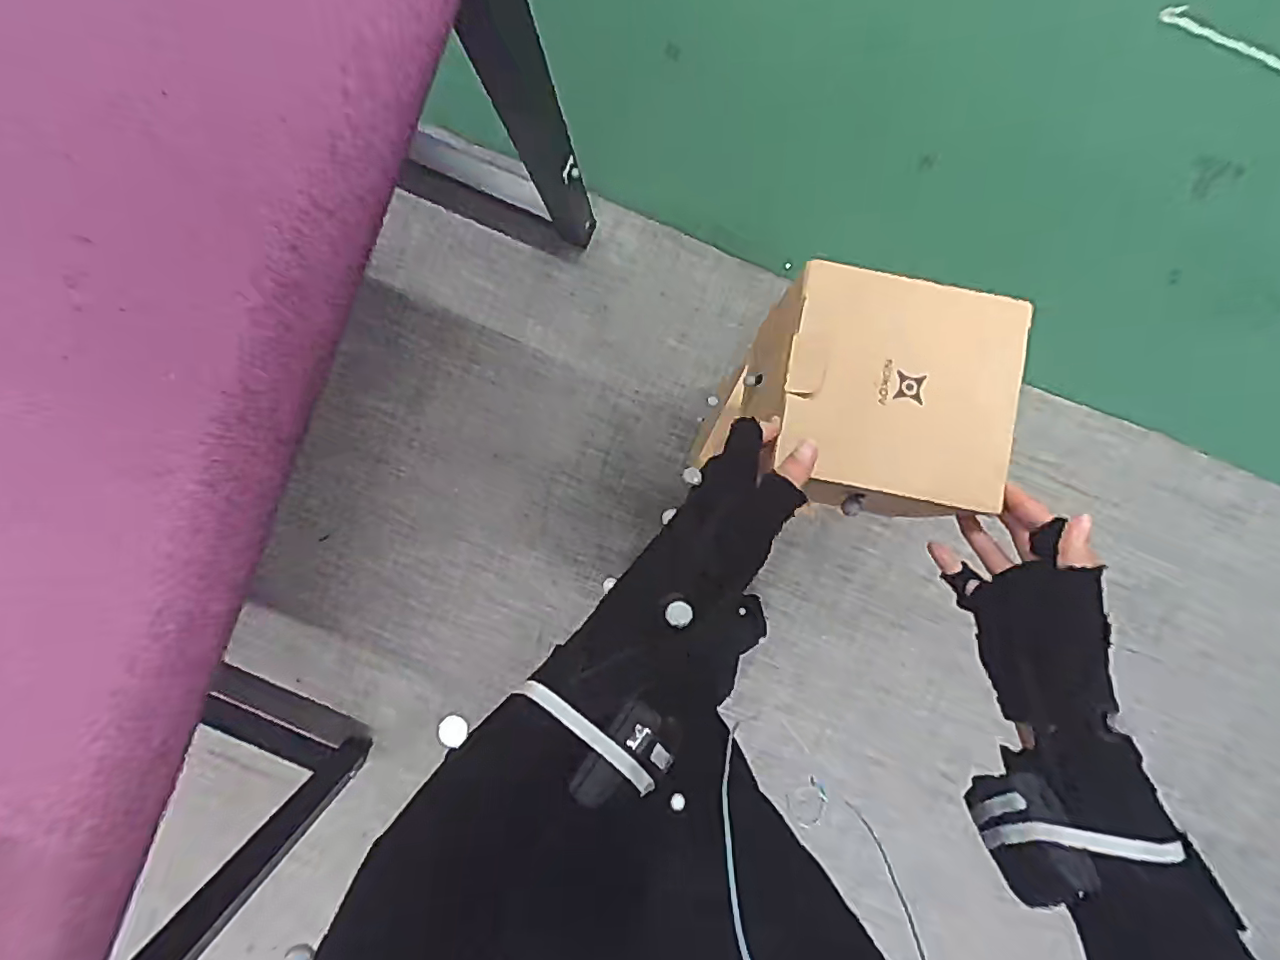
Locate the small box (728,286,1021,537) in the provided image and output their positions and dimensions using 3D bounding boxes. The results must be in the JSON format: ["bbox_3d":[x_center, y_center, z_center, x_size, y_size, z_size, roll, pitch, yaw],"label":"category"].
[{"bbox_3d":[0.195,-0.050,0.497,0.179,0.176,0.168,13,86,-1],"label":"small box"}]

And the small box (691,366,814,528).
[{"bbox_3d":[0.190,-0.053,0.796,0.179,0.176,0.168,29,96,0],"label":"small box"}]
